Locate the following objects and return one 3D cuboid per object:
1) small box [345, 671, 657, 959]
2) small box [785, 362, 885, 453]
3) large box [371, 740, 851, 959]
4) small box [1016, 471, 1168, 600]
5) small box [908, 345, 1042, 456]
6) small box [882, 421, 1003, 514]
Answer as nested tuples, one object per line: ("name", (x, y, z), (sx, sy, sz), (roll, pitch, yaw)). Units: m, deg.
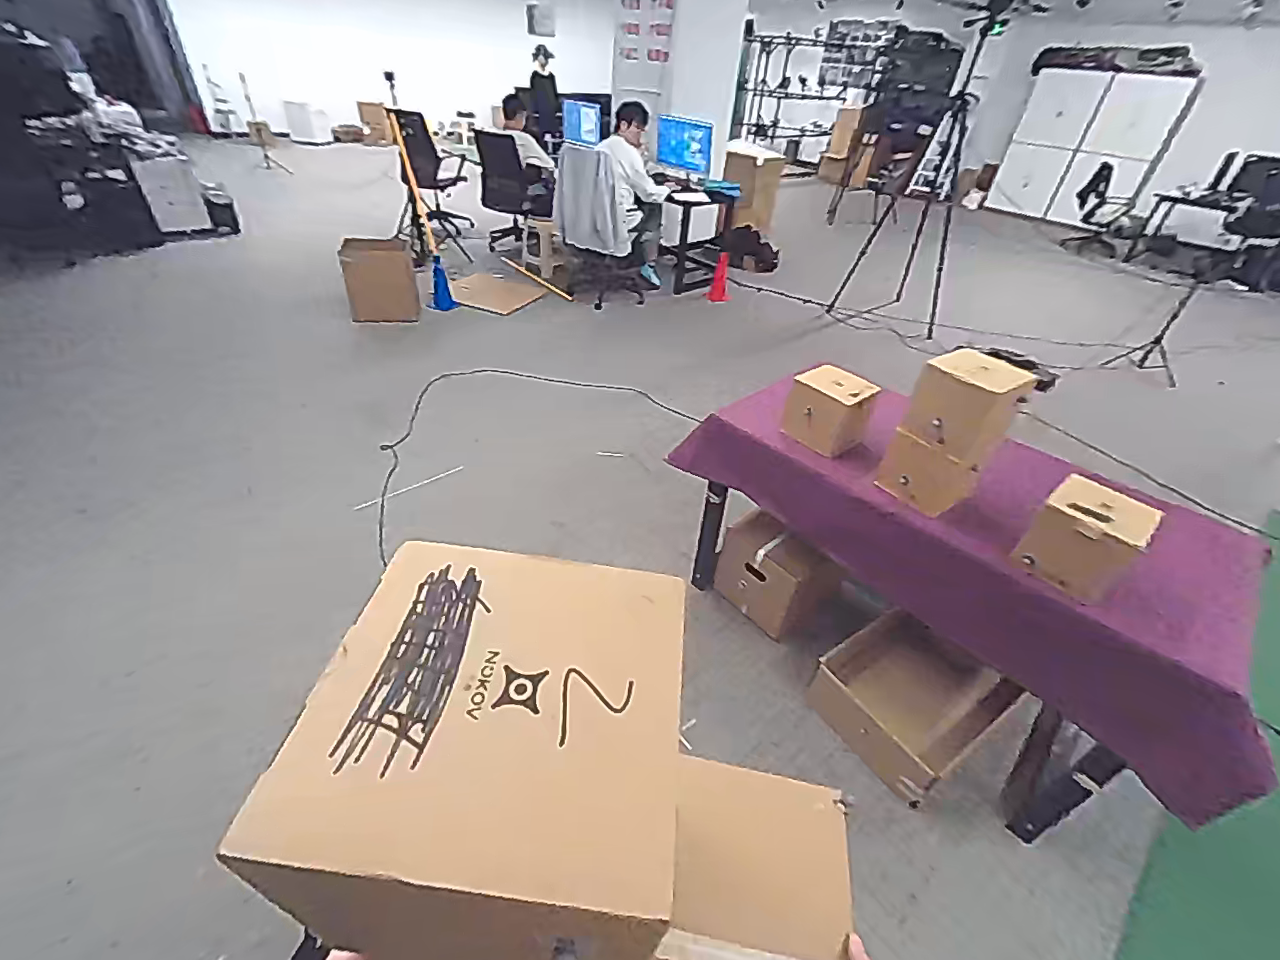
("small box", (-0.088, 0.281, 0.431), (0.179, 0.176, 0.168), (7, 41, 2))
("small box", (0.522, -0.197, 1.472), (0.168, 0.176, 0.179), (-26, 47, -32))
("large box", (-0.028, 0.490, 0.571), (0.408, 0.320, 0.320), (10, 43, 4))
("small box", (0.919, 0.115, 1.115), (0.179, 0.176, 0.168), (-25, 46, -33))
("small box", (0.736, -0.179, 1.207), (0.179, 0.176, 0.168), (-21, 44, -28))
("small box", (0.719, -0.048, 1.306), (0.179, 0.176, 0.168), (-22, 45, -29))
